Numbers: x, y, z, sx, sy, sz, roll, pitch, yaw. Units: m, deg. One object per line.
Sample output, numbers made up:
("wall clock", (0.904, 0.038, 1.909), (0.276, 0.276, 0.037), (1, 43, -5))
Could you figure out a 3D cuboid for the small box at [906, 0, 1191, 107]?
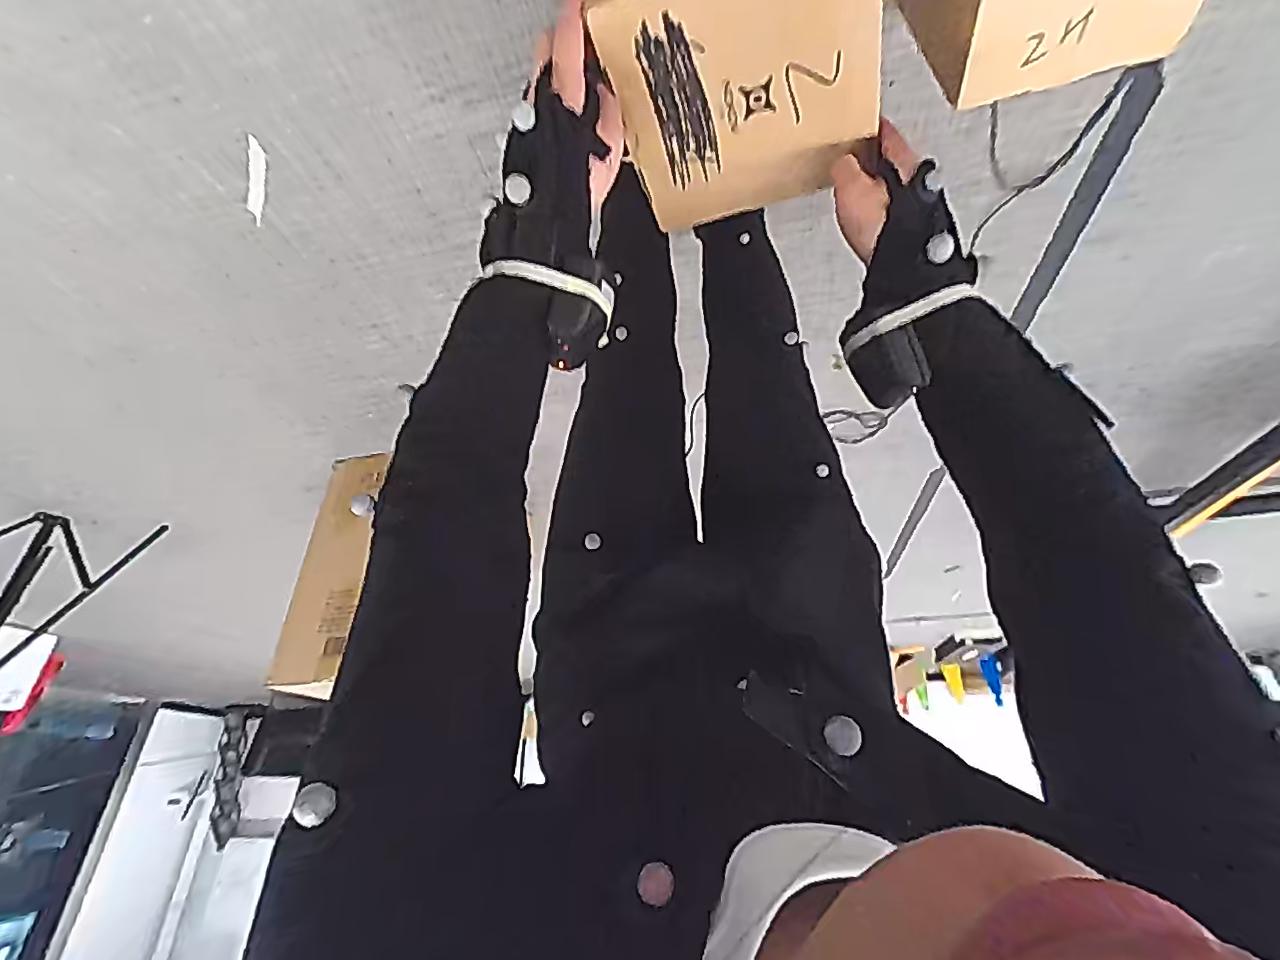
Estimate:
("small box", (0.327, -0.449, 0.427), (0.168, 0.176, 0.179), (-8, 150, 12))
